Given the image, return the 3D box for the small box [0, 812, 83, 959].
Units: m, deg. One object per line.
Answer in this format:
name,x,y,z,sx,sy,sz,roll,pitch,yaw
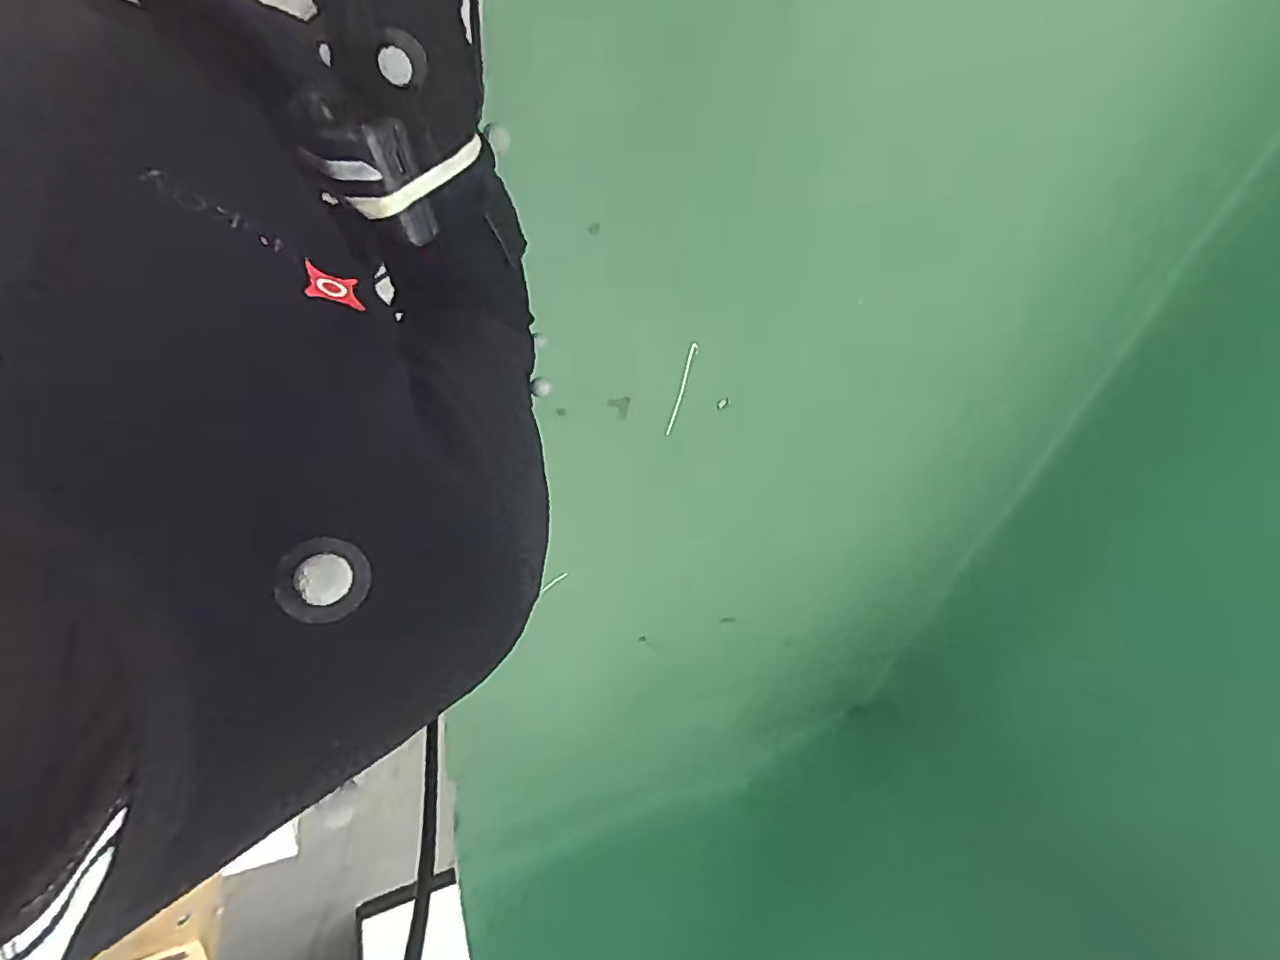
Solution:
small box,-1.019,0.657,0.838,0.168,0.176,0.179,-2,127,-29
